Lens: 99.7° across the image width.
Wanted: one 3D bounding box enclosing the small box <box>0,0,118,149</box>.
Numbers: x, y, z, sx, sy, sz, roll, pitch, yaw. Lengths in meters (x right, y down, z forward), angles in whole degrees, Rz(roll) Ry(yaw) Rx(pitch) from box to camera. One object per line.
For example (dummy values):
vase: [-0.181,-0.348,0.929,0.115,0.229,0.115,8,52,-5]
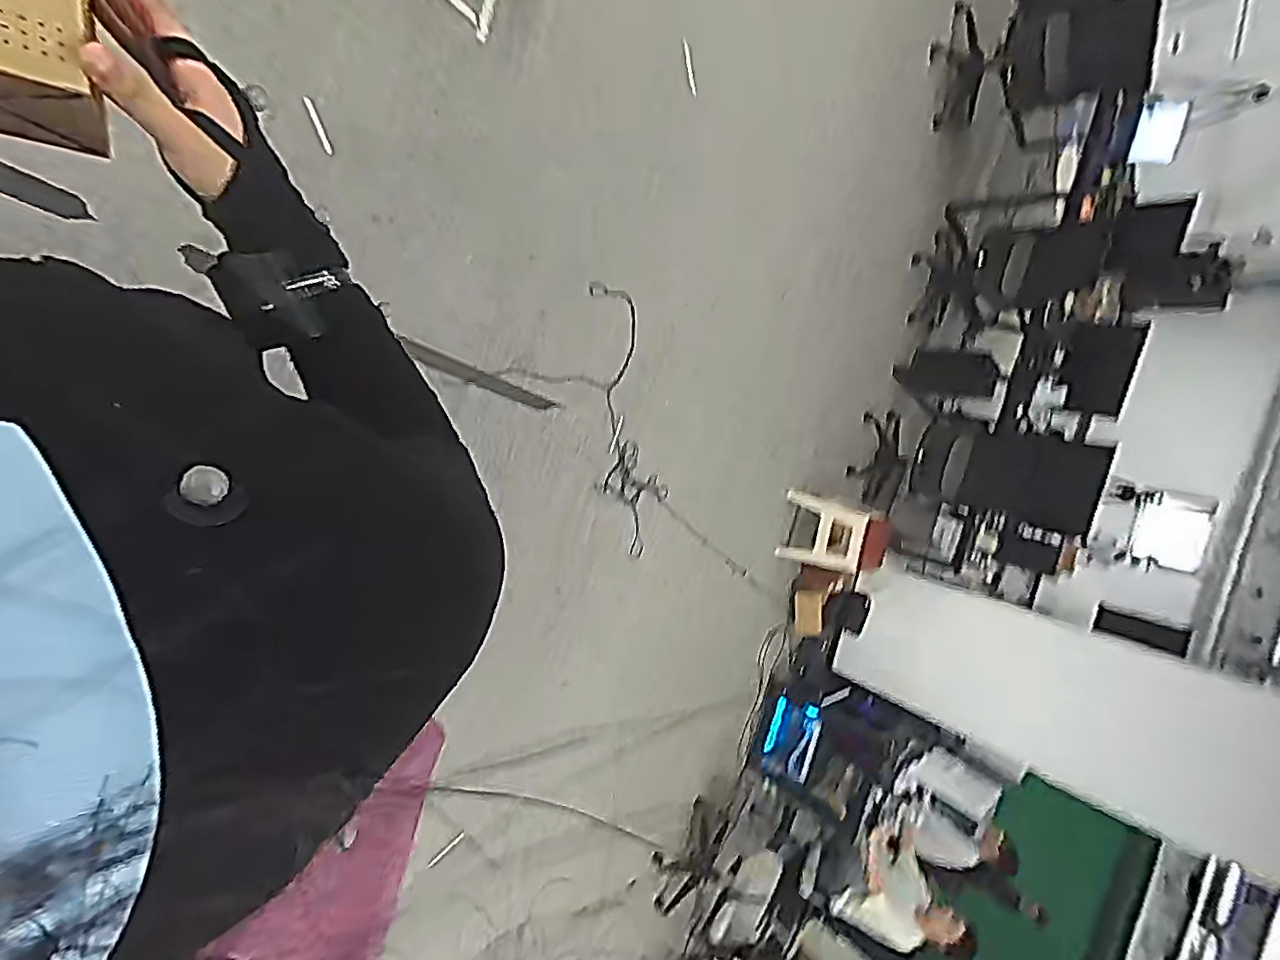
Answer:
small box: [-0.392,-0.298,0.280,0.168,0.179,0.176,-2,106,-41]
